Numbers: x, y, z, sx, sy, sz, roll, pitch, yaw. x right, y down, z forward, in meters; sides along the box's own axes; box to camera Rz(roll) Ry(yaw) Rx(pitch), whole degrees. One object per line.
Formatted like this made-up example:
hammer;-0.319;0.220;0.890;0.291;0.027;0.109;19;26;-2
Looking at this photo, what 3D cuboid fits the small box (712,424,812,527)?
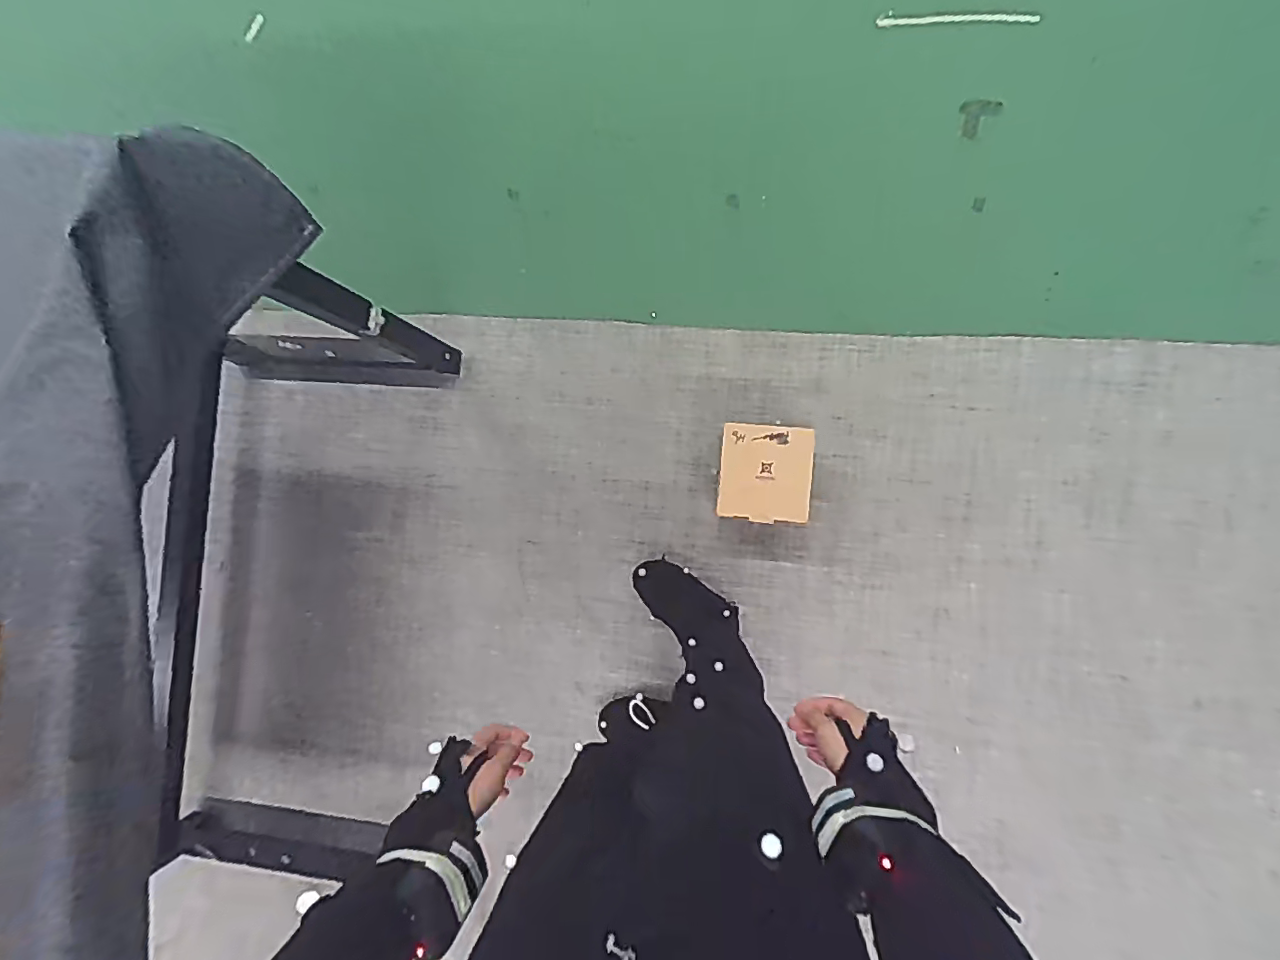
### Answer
small box;0.232;-0.008;1.057;0.168;0.176;0.179;5;90;7
